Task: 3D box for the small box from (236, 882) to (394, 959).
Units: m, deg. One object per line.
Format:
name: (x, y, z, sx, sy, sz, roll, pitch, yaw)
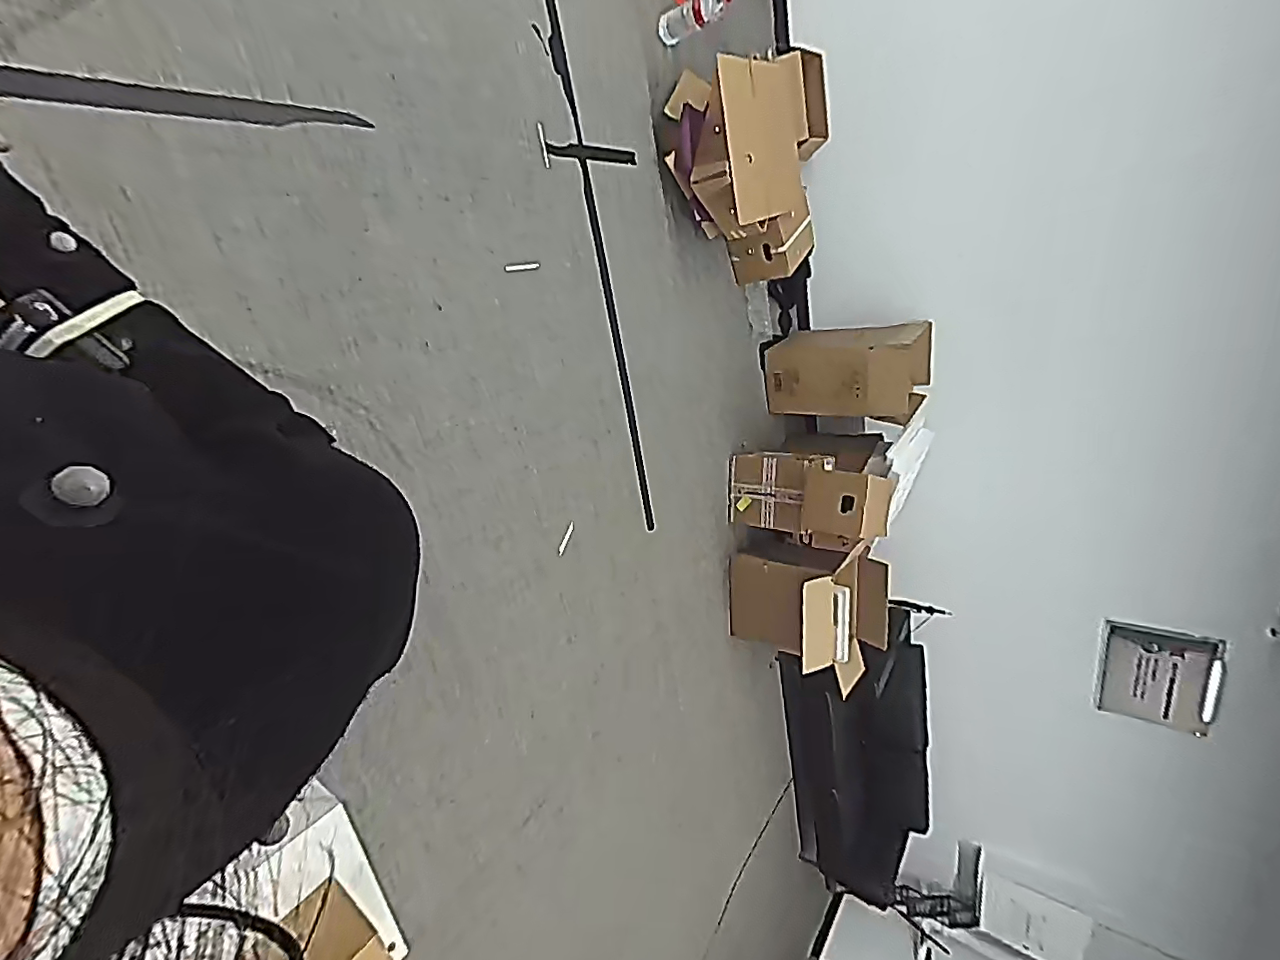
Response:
small box: (-0.499, 0.792, 0.852, 0.168, 0.176, 0.179, -33, 120, -45)
